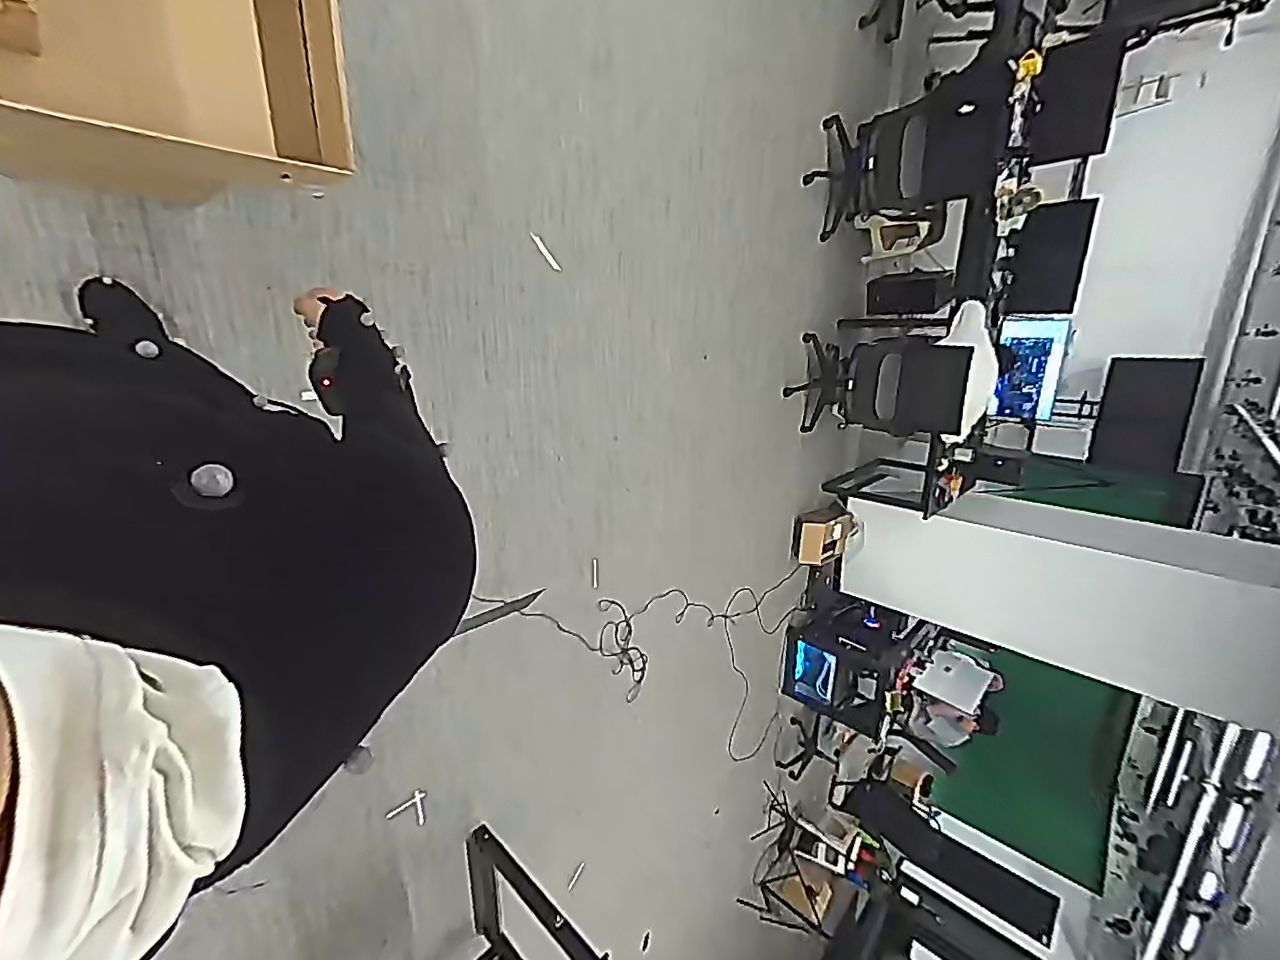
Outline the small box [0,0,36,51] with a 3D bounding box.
[{"bbox_3d":[-0.860,-0.656,0.640,0.168,0.176,0.179,-16,111,-43],"label":"small box"}]
